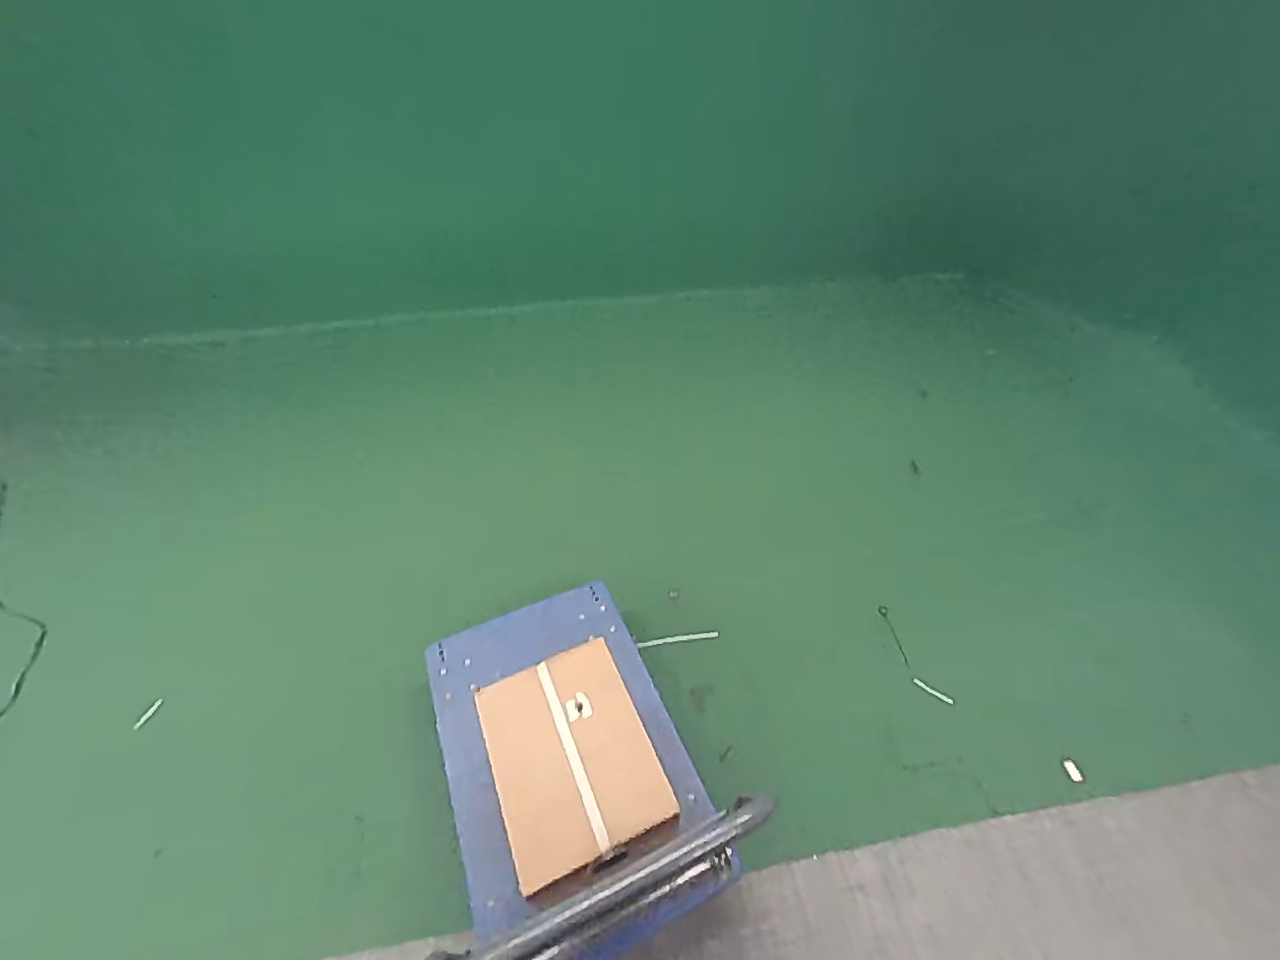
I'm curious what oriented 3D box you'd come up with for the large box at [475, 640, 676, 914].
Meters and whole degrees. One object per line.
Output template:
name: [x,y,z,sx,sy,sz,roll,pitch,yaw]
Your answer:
large box: [-0.141,0.659,1.225,0.320,0.320,0.408,-19,46,-16]
